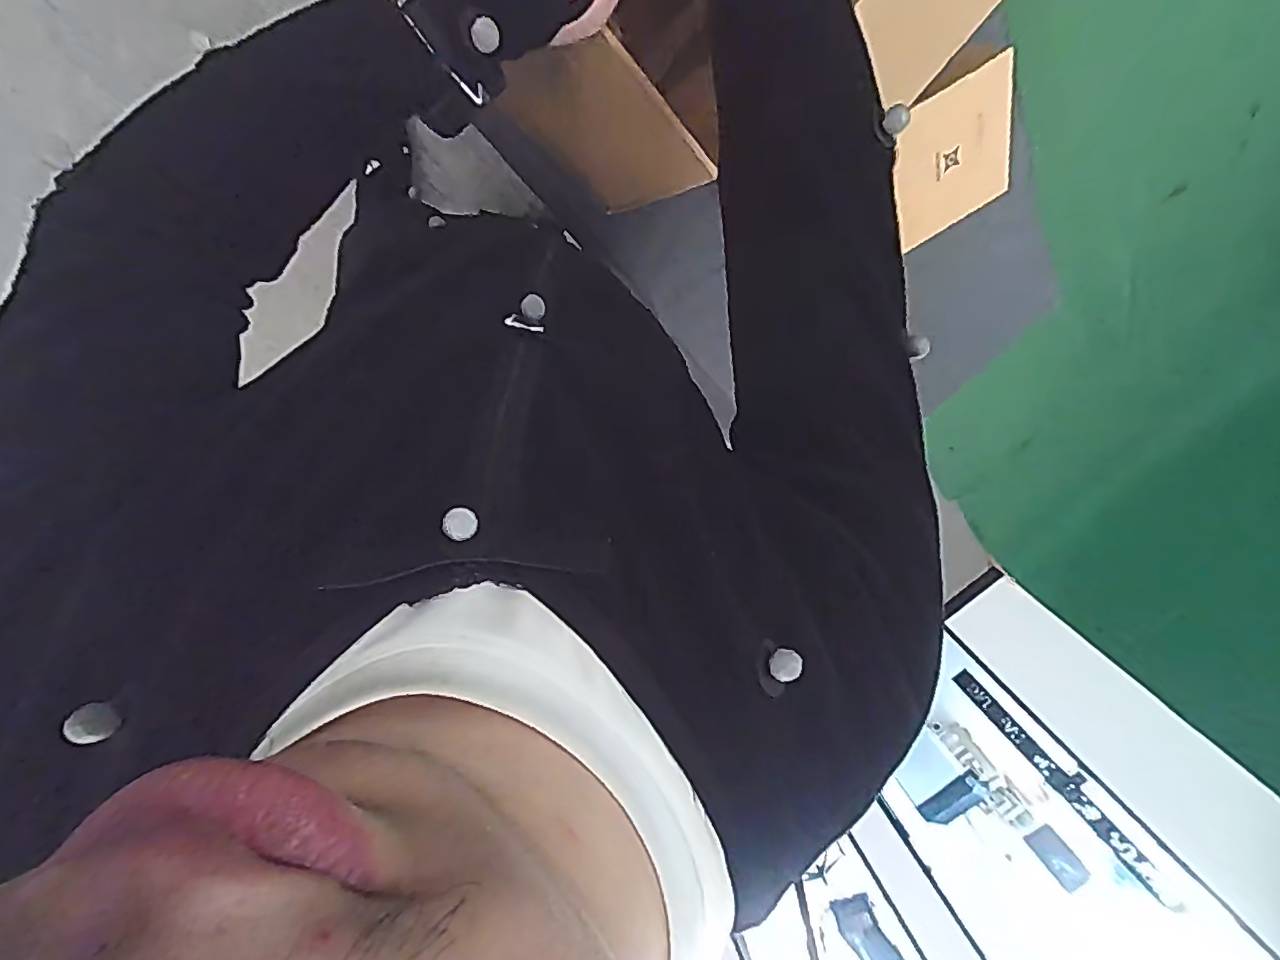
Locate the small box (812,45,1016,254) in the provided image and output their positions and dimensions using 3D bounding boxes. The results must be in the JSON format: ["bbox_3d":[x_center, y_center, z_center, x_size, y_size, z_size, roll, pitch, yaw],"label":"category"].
[{"bbox_3d":[0.349,-0.434,0.716,0.179,0.176,0.168,-32,132,1],"label":"small box"}]
